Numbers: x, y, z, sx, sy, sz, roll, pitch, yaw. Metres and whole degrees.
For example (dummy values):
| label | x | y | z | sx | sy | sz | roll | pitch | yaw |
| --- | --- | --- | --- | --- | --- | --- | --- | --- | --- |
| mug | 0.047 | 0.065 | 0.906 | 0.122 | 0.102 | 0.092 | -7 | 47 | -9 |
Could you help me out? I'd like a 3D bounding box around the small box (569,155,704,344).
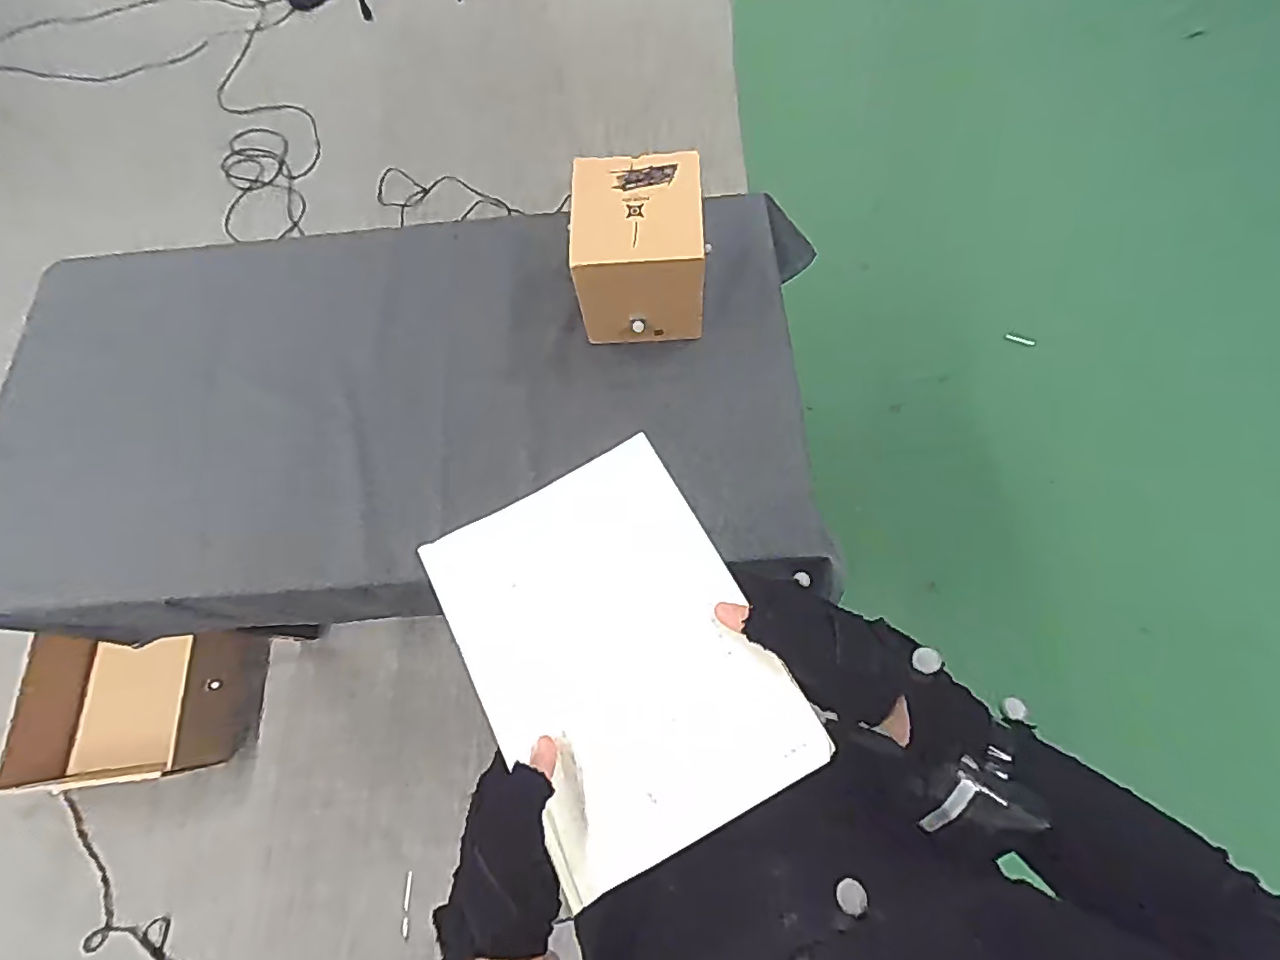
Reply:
| label | x | y | z | sx | sy | sz | roll | pitch | yaw |
| --- | --- | --- | --- | --- | --- | --- | --- | --- | --- |
| small box | 0.001 | -0.311 | 0.751 | 0.168 | 0.176 | 0.179 | -2 | 70 | 4 |
